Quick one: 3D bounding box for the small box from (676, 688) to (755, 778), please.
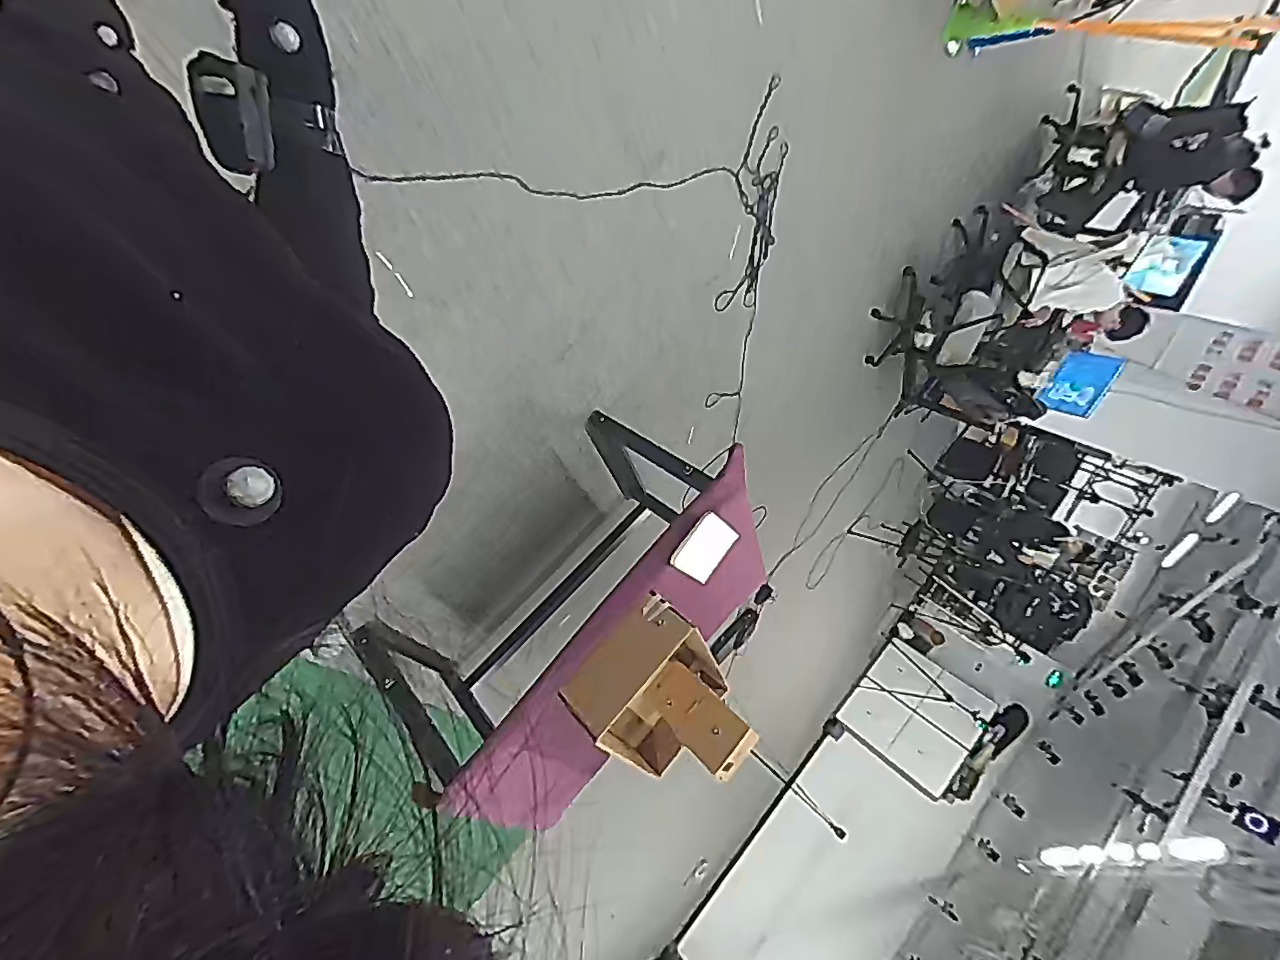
[{"bbox_3d":[0.231,0.794,1.698,0.179,0.176,0.168,-48,143,-14],"label":"small box"}]
